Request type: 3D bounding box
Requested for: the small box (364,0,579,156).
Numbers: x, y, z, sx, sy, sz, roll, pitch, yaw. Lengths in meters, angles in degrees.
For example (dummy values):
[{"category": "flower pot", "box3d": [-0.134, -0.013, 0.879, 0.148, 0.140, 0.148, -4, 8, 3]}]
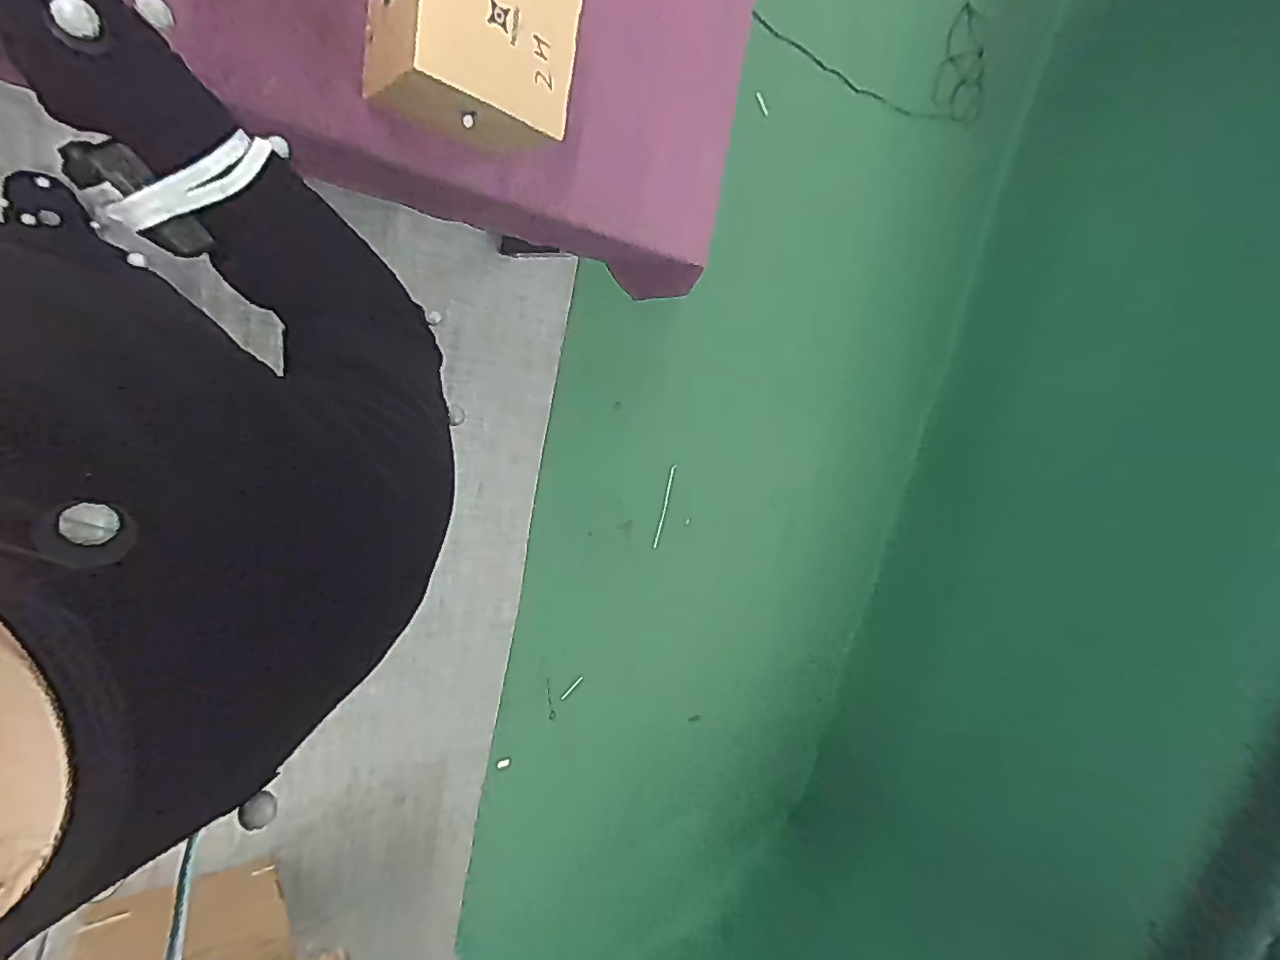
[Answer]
[{"category": "small box", "box3d": [-0.197, -0.495, 0.618, 0.179, 0.176, 0.168, -1, 108, -44]}]
